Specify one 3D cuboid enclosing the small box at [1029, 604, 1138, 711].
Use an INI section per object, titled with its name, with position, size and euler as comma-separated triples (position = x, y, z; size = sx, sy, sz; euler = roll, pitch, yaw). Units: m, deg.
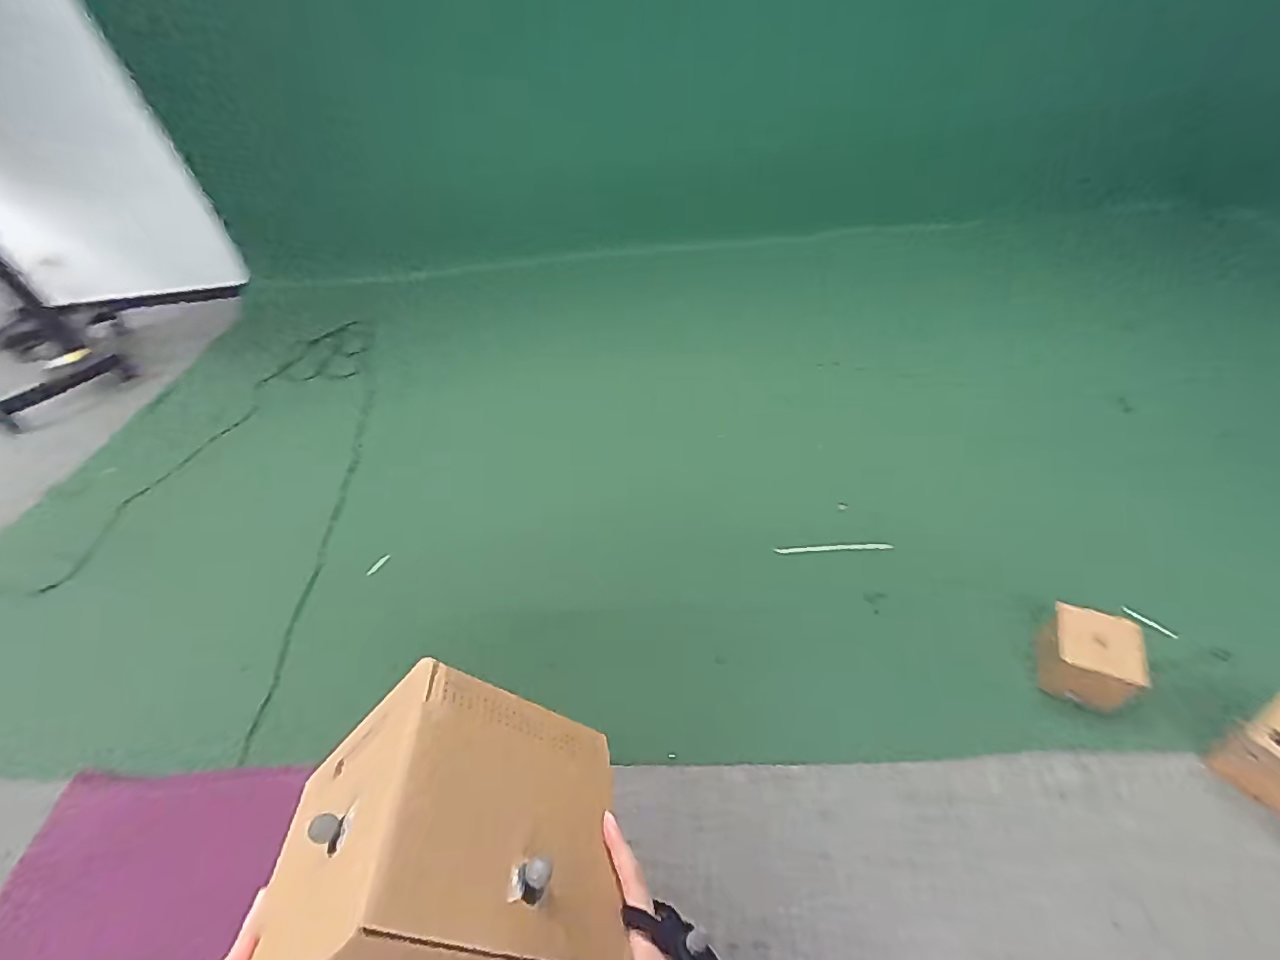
[small box]
position = 1.125, 0.456, 1.387
size = 0.168, 0.176, 0.179
euler = 14, 49, 22
